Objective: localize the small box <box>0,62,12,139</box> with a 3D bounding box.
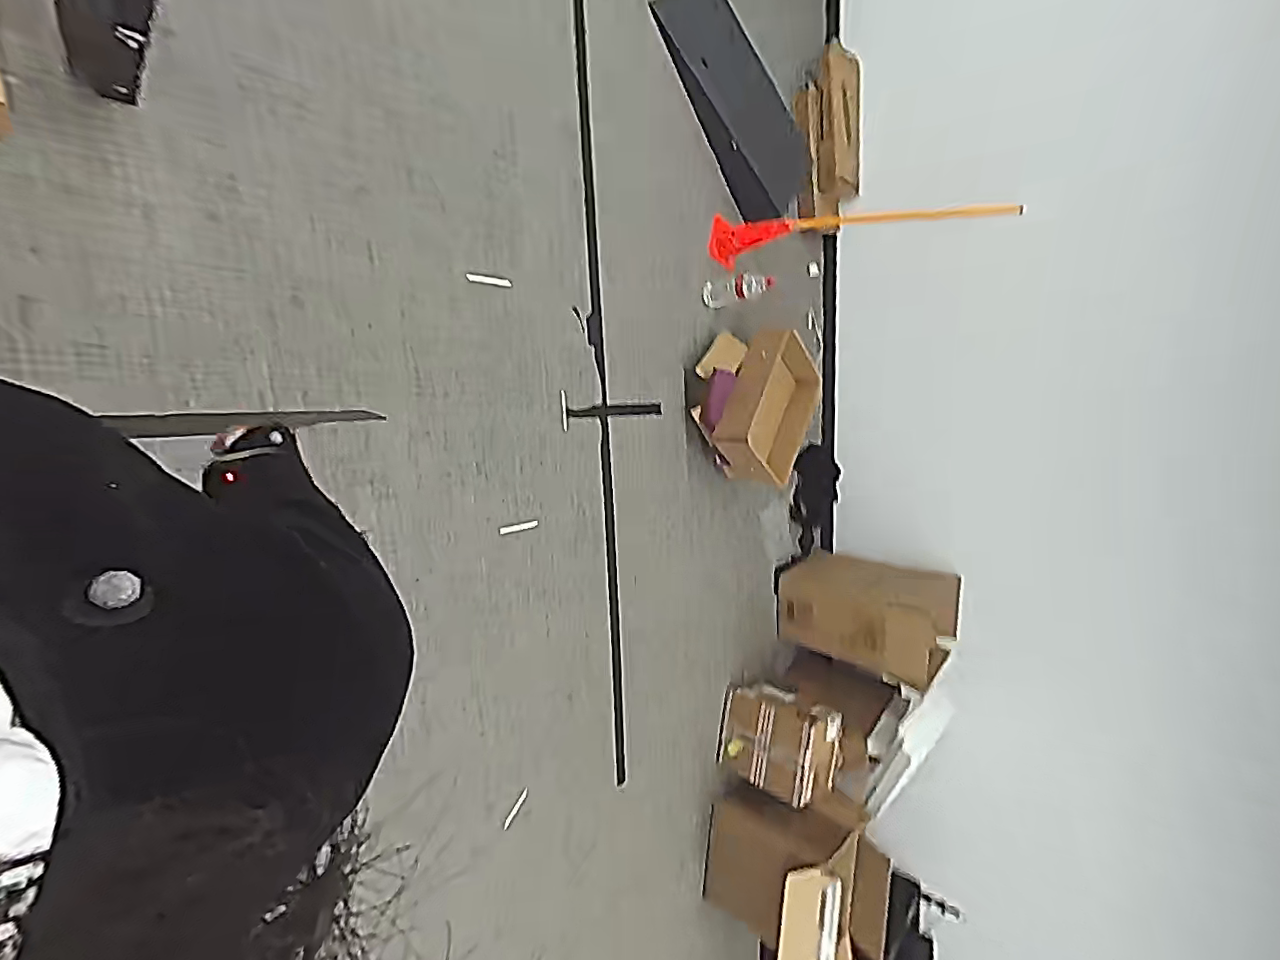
[{"bbox_3d":[-1.132,-0.682,0.850,0.168,0.176,0.179,-11,102,-45],"label":"small box"}]
